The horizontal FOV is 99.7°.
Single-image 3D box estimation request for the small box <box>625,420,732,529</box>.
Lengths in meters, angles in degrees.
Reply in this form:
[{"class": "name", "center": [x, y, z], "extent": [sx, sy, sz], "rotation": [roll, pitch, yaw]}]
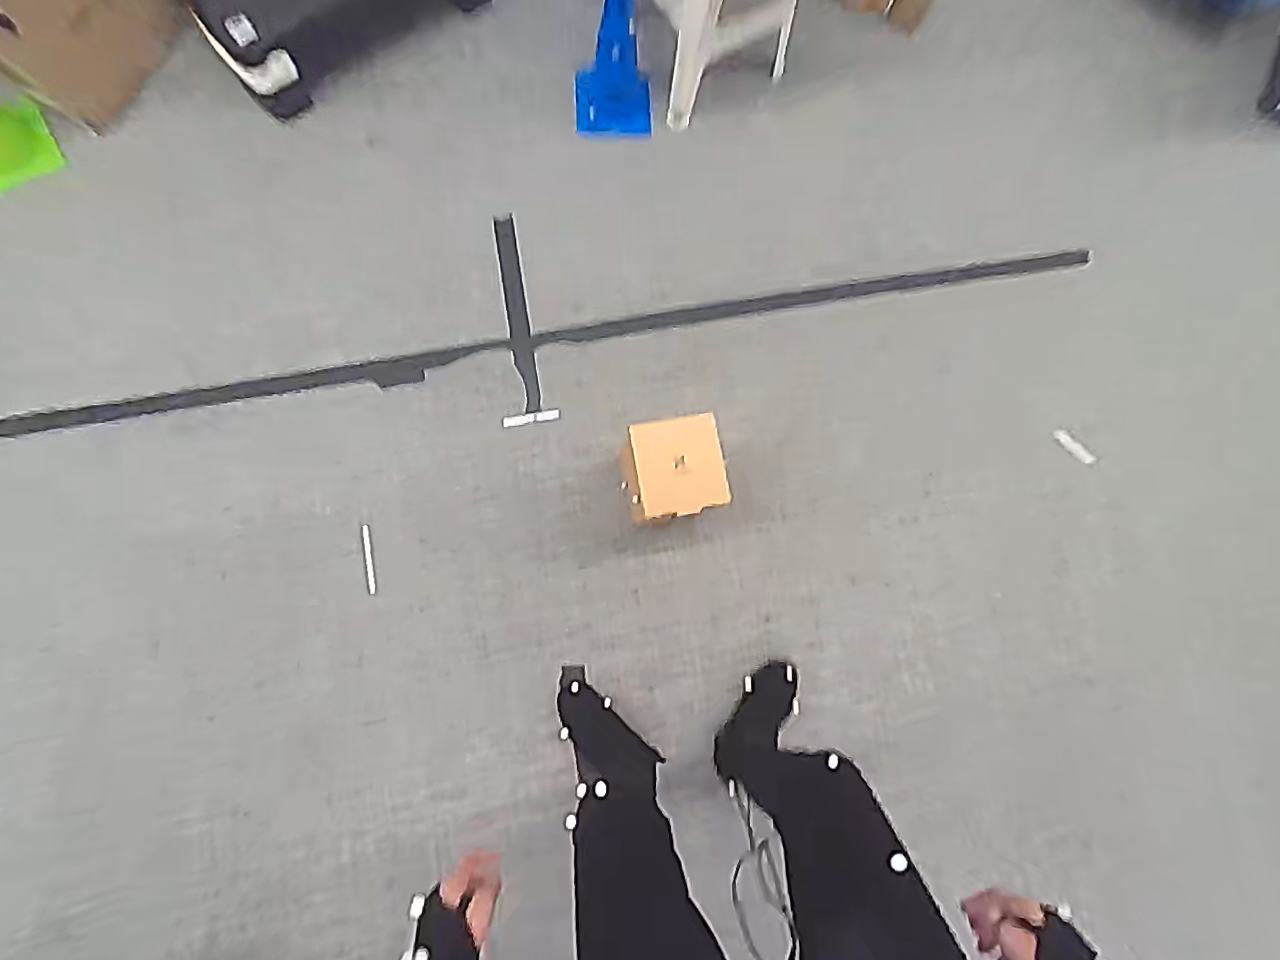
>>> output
[{"class": "small box", "center": [0.067, -0.006, 1.084], "extent": [0.168, 0.176, 0.179], "rotation": [-10, 82, -7]}]
